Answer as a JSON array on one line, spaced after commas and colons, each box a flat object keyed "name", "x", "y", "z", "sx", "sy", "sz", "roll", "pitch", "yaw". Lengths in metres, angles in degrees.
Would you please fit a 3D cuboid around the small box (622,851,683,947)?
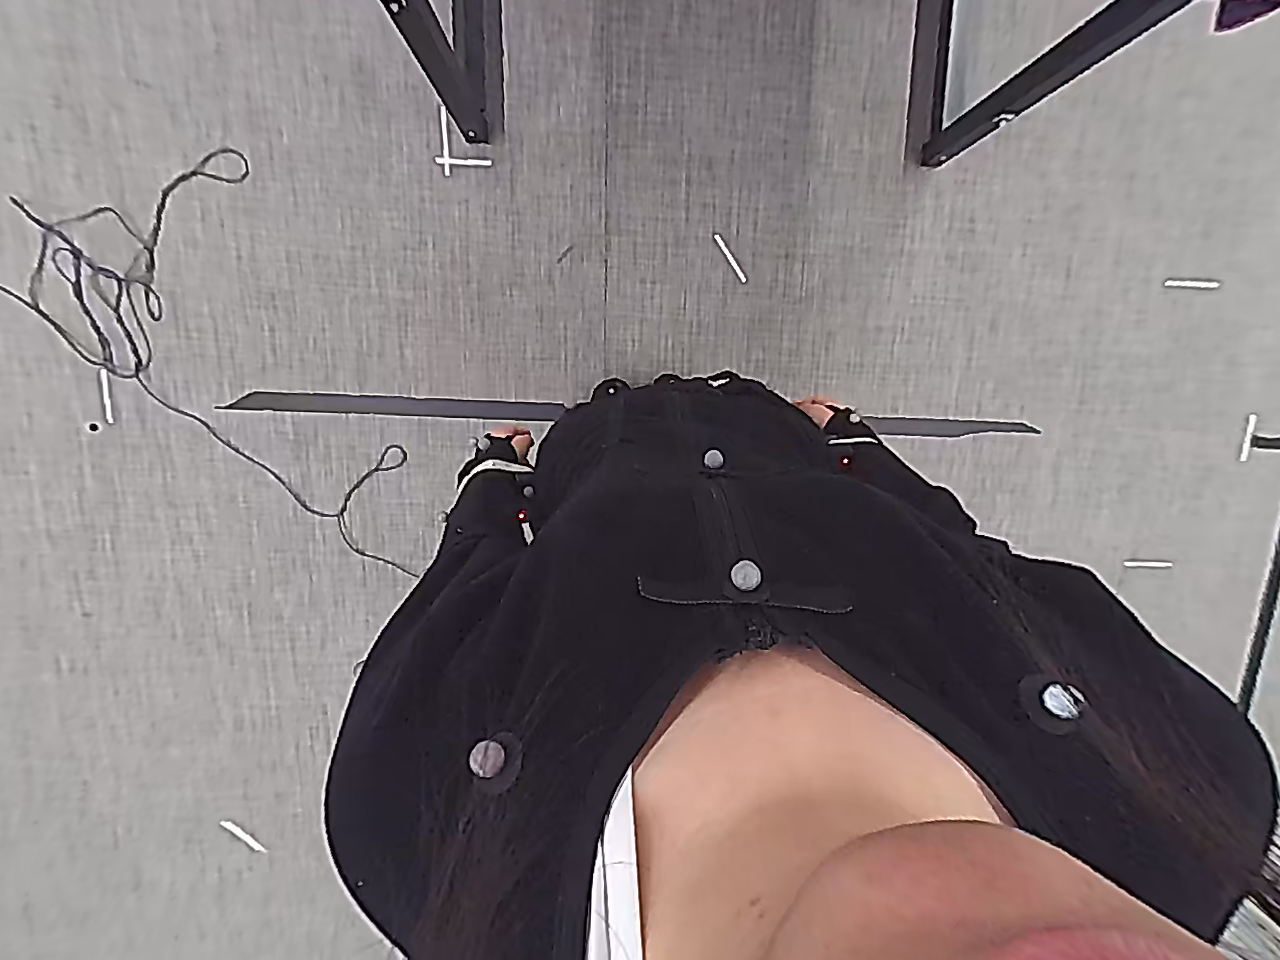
[{"name": "small box", "x": 0.033, "y": 1.270, "z": 1.648, "sx": 0.168, "sy": 0.176, "sz": 0.179, "roll": 3, "pitch": 101, "yaw": -2}]
